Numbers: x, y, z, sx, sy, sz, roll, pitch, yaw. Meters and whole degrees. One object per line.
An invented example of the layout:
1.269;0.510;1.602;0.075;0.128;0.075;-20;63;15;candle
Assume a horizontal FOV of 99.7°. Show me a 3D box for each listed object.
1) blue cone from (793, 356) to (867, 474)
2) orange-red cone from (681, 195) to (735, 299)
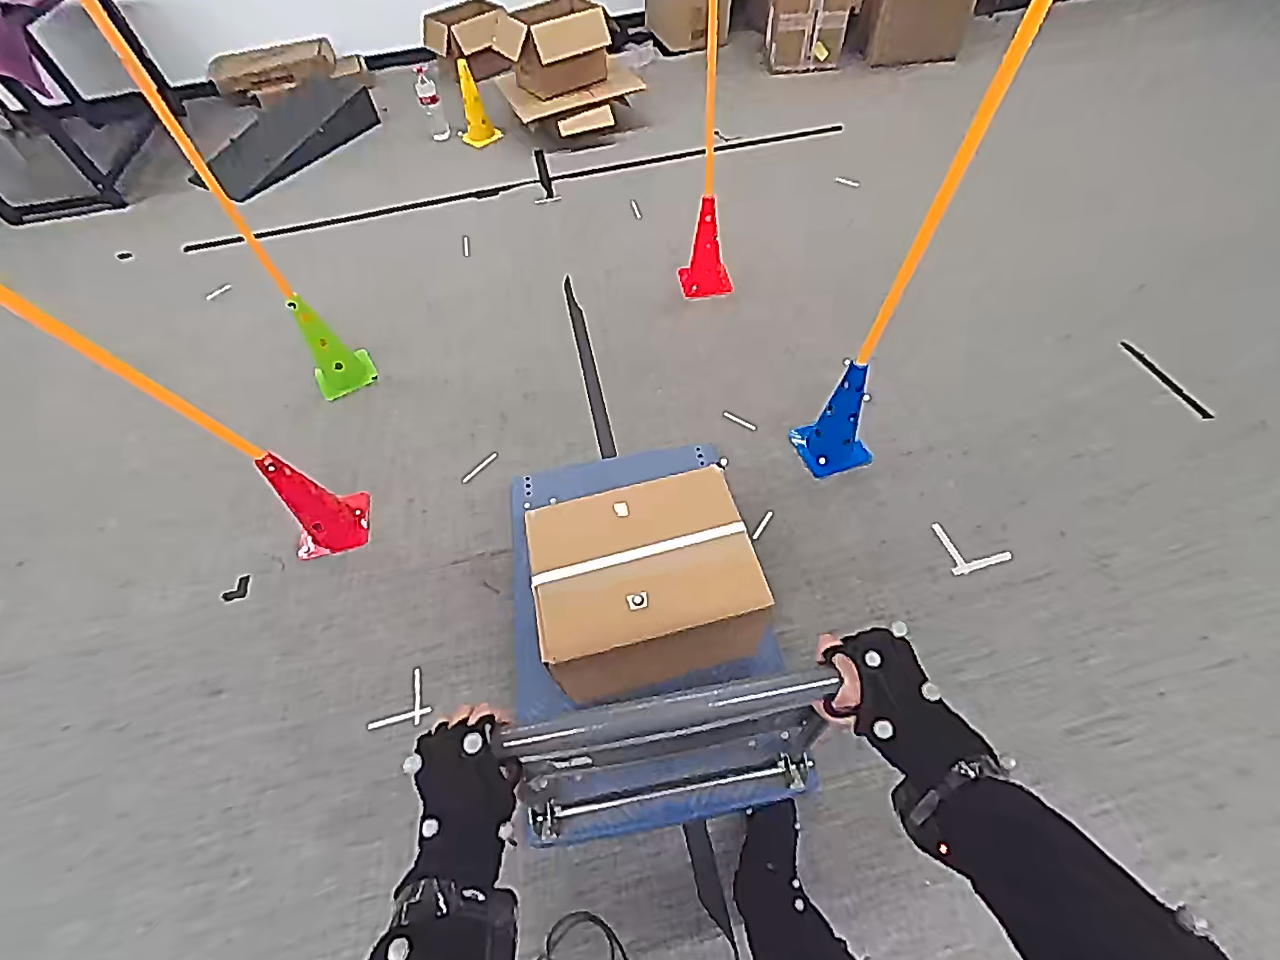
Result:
0.591;-0.202;1.576;0.193;0.380;0.192;-16;55;-7;blue cone
0.265;-0.902;2.059;0.199;0.360;0.198;-7;56;-1;orange-red cone
